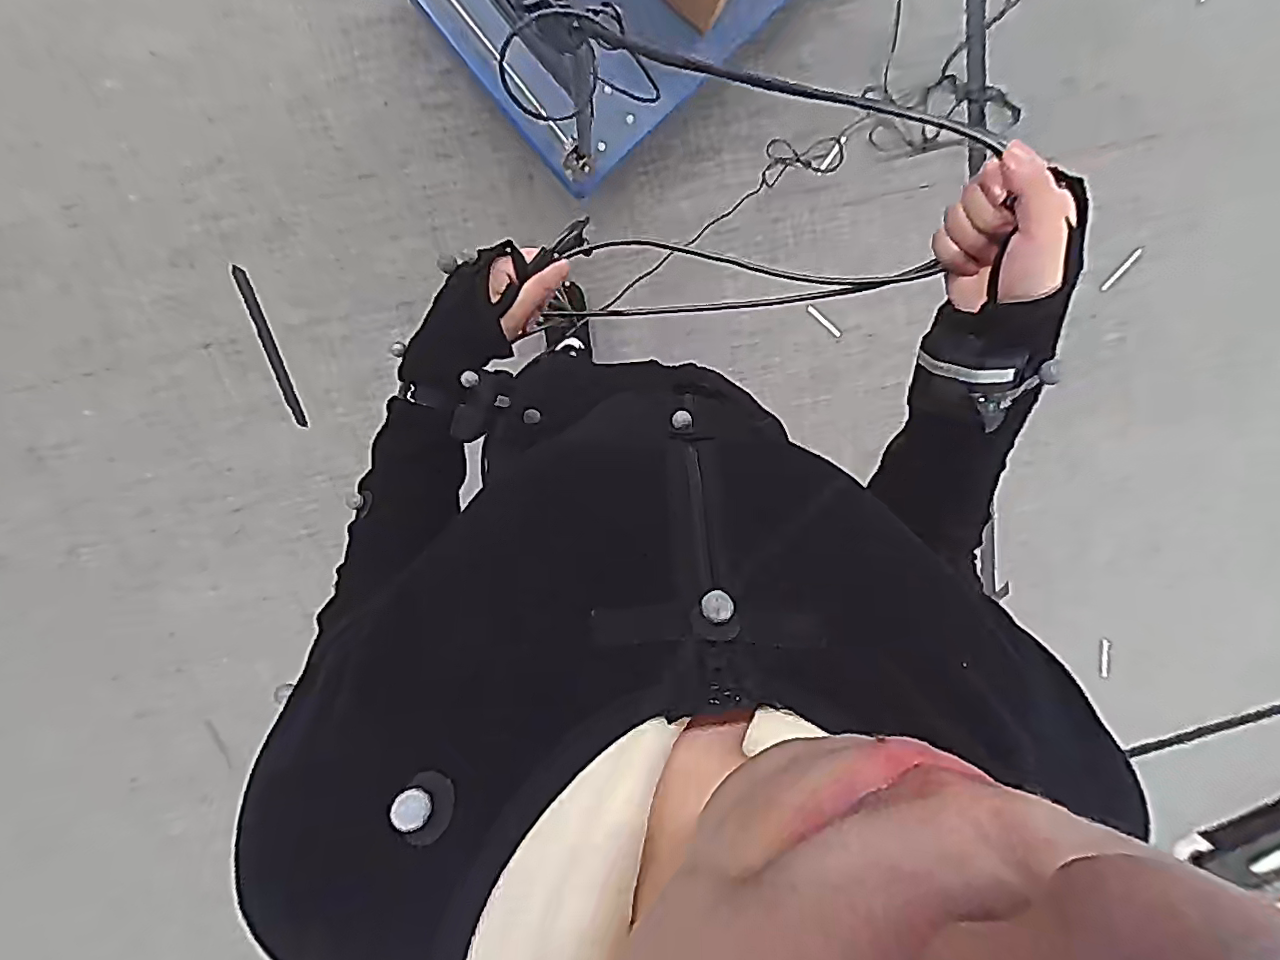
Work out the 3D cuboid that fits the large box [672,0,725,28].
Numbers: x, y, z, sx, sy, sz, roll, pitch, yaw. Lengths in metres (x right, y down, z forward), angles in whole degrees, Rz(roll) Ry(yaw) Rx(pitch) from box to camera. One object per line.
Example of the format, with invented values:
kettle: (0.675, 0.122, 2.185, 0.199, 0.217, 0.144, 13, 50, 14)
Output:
large box: (0.070, -1.086, 0.875, 0.408, 0.320, 0.320, 32, 101, -14)
